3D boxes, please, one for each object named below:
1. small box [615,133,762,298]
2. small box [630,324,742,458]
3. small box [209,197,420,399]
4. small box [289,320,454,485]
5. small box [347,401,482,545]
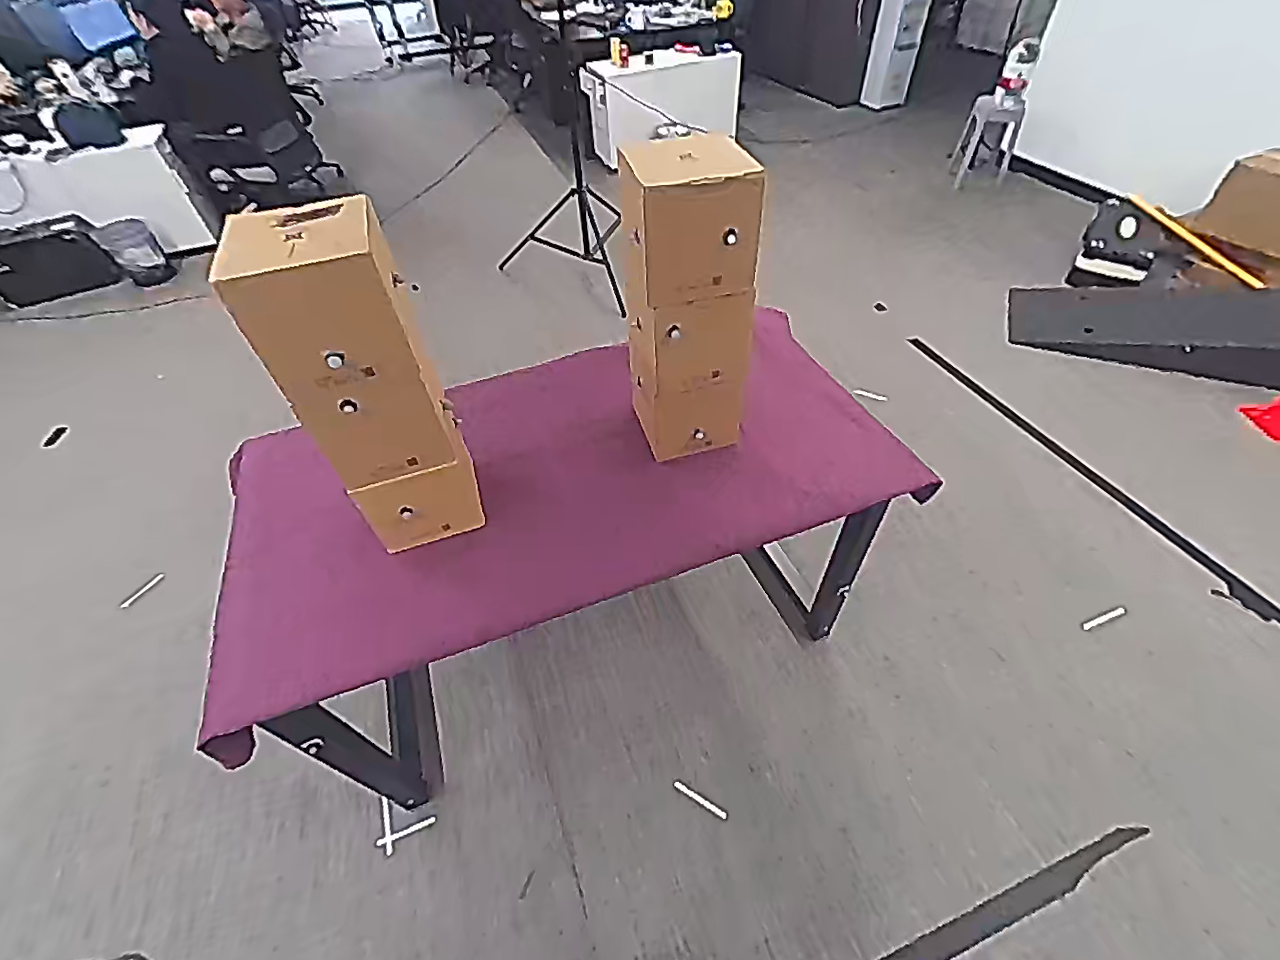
[{"bbox_3d":[0.065,-0.382,0.795,0.168,0.176,0.179,-12,47,-8],"label":"small box"},{"bbox_3d":[0.081,-0.170,1.043,0.168,0.176,0.179,-14,49,-8],"label":"small box"},{"bbox_3d":[-0.395,-0.232,0.688,0.168,0.176,0.179,-17,50,-11],"label":"small box"},{"bbox_3d":[-0.392,-0.122,0.812,0.168,0.176,0.179,-18,49,-12],"label":"small box"},{"bbox_3d":[-0.382,-0.009,0.930,0.168,0.176,0.179,-17,49,-11],"label":"small box"}]
